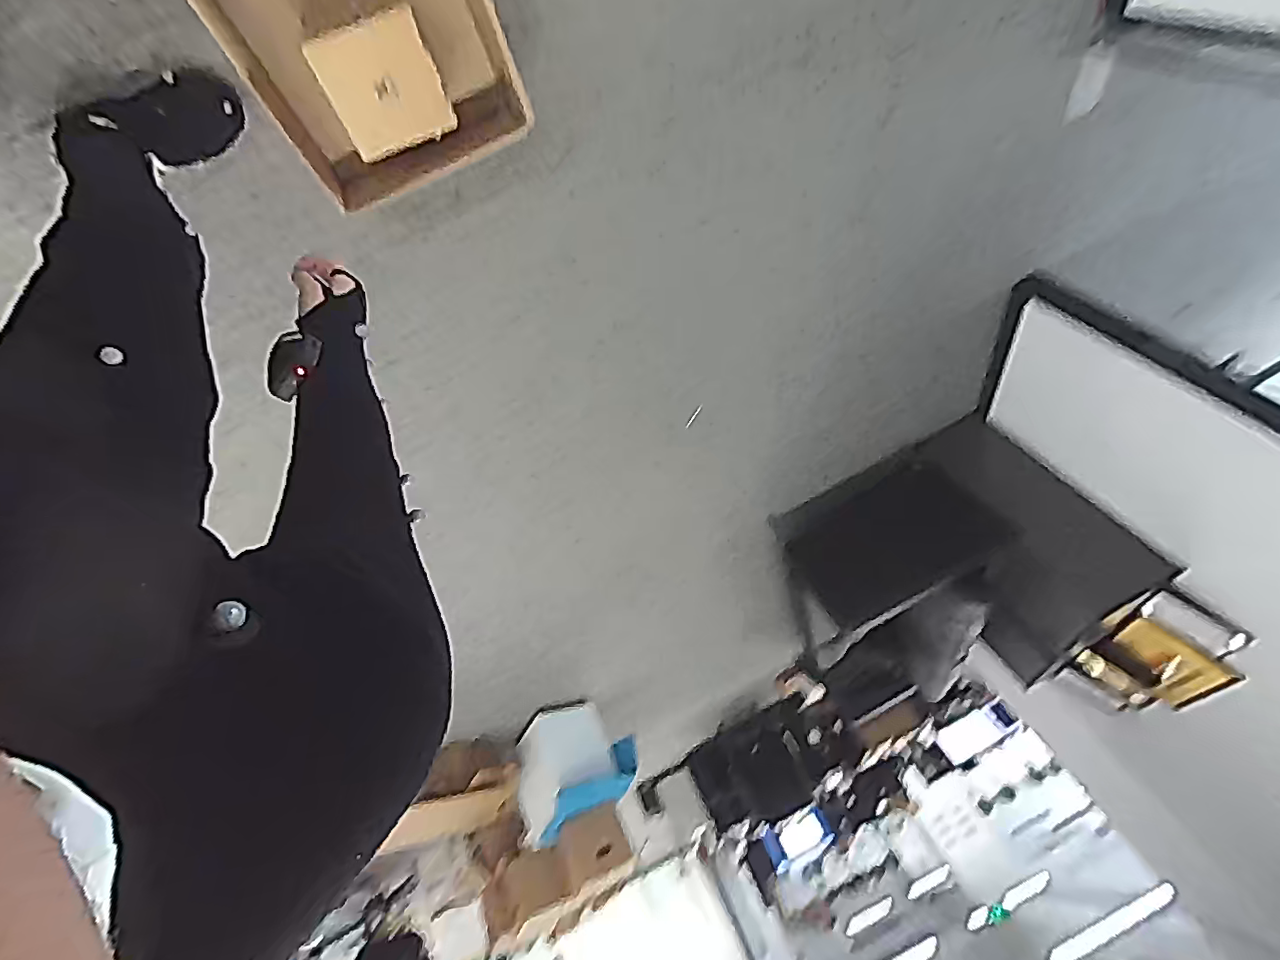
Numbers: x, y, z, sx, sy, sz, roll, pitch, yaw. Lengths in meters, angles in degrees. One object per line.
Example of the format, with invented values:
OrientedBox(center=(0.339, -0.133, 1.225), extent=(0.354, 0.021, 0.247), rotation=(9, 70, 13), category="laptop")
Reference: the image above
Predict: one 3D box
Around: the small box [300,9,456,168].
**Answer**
OrientedBox(center=(-0.445, -0.673, 0.928), extent=(0.179, 0.176, 0.168), rotation=(-26, 140, -6), category="small box")
